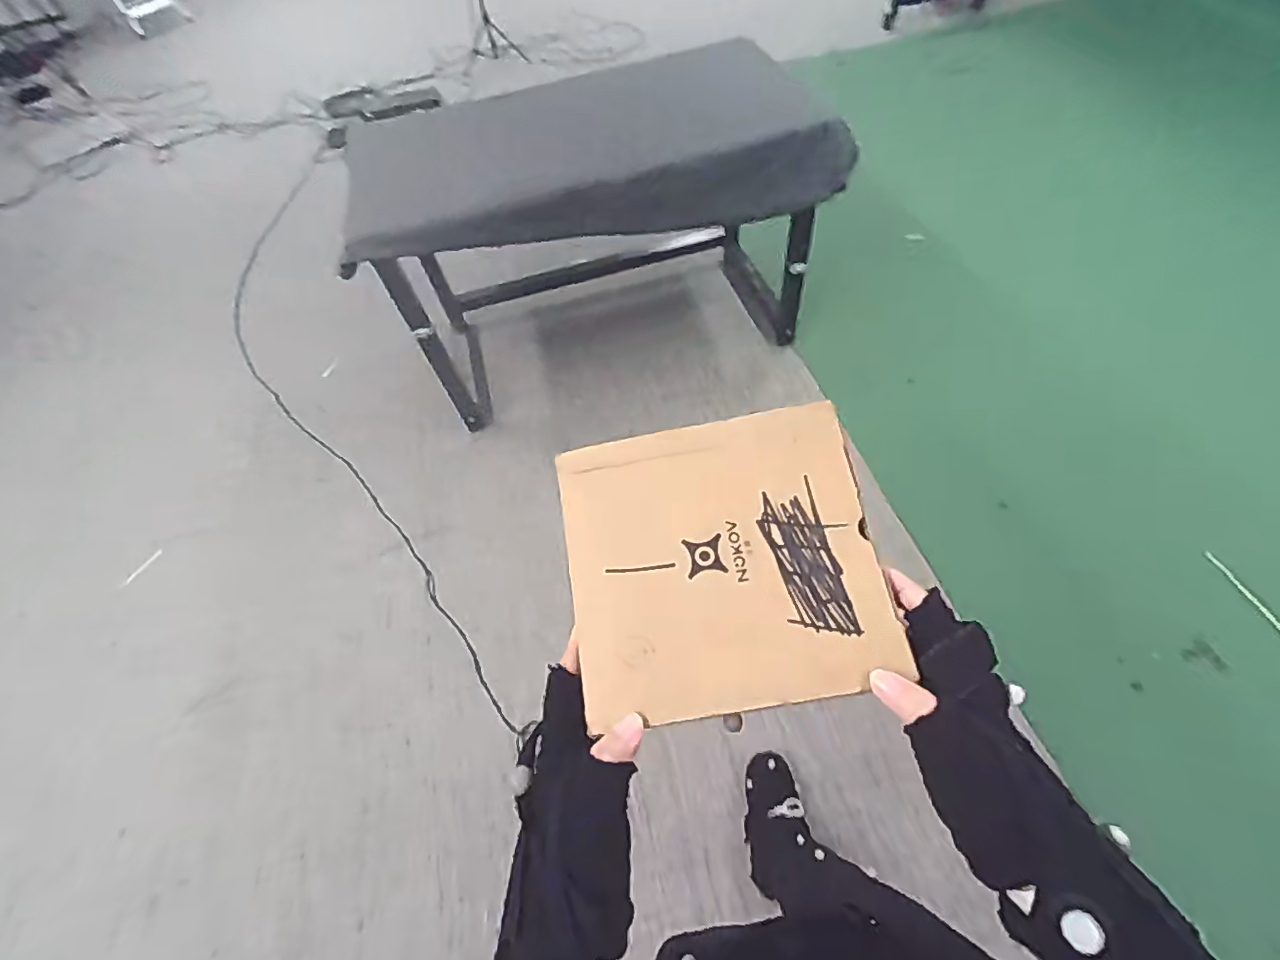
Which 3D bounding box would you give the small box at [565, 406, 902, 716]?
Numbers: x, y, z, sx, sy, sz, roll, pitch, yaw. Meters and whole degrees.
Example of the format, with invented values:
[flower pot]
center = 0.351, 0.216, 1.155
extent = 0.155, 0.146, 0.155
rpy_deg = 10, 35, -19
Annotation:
[small box]
center = 0.055, 0.068, 0.398
extent = 0.179, 0.176, 0.168
rpy_deg = -11, 69, 3
